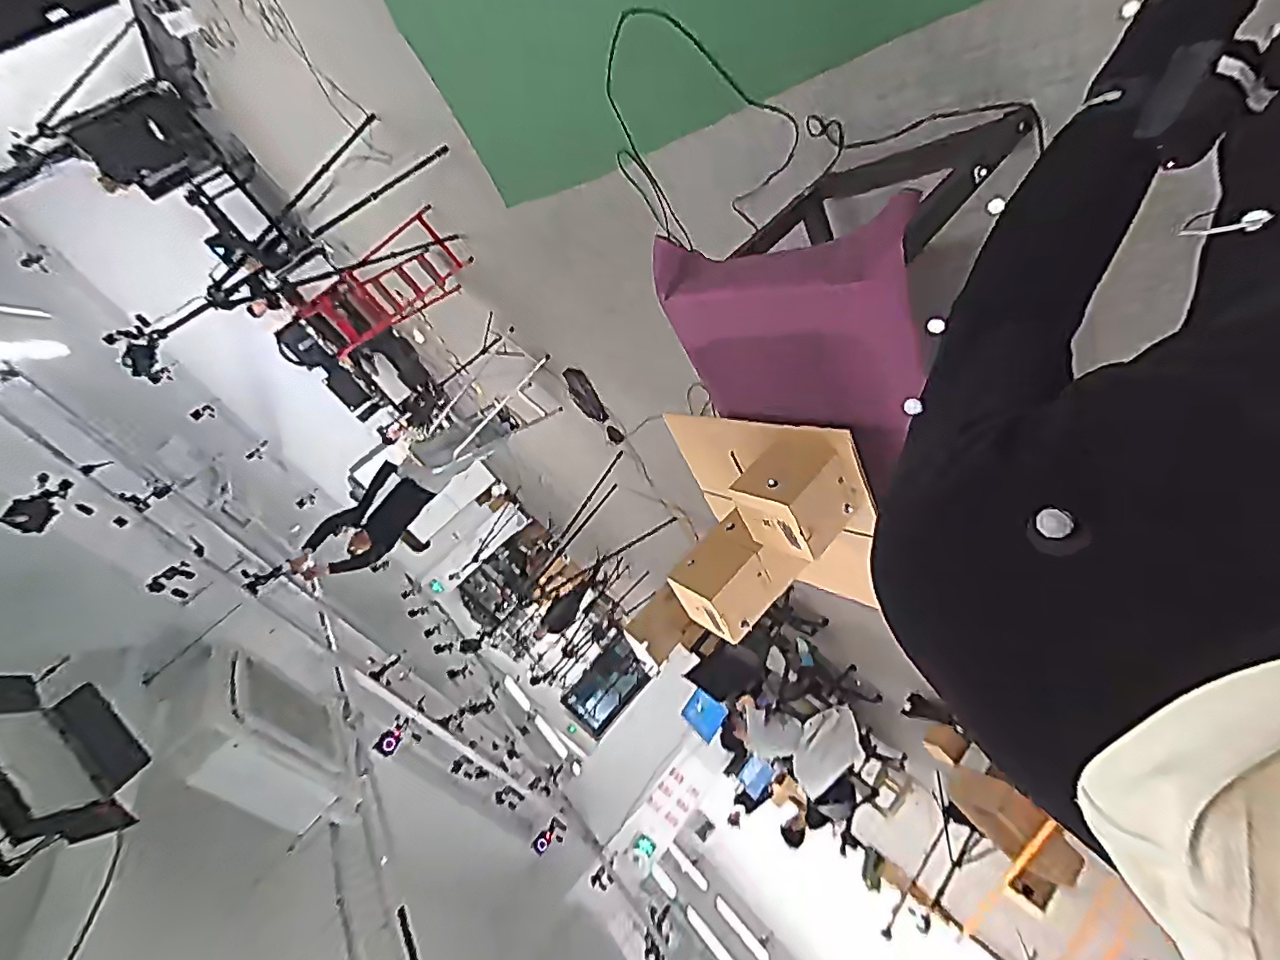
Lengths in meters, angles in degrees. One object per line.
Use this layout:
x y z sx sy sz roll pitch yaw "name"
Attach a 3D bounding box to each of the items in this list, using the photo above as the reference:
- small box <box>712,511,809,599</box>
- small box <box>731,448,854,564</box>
0.327 0.172 1.408 0.179 0.176 0.168 16 143 53 "small box"
0.336 0.048 1.165 0.179 0.176 0.168 17 145 54 "small box"
